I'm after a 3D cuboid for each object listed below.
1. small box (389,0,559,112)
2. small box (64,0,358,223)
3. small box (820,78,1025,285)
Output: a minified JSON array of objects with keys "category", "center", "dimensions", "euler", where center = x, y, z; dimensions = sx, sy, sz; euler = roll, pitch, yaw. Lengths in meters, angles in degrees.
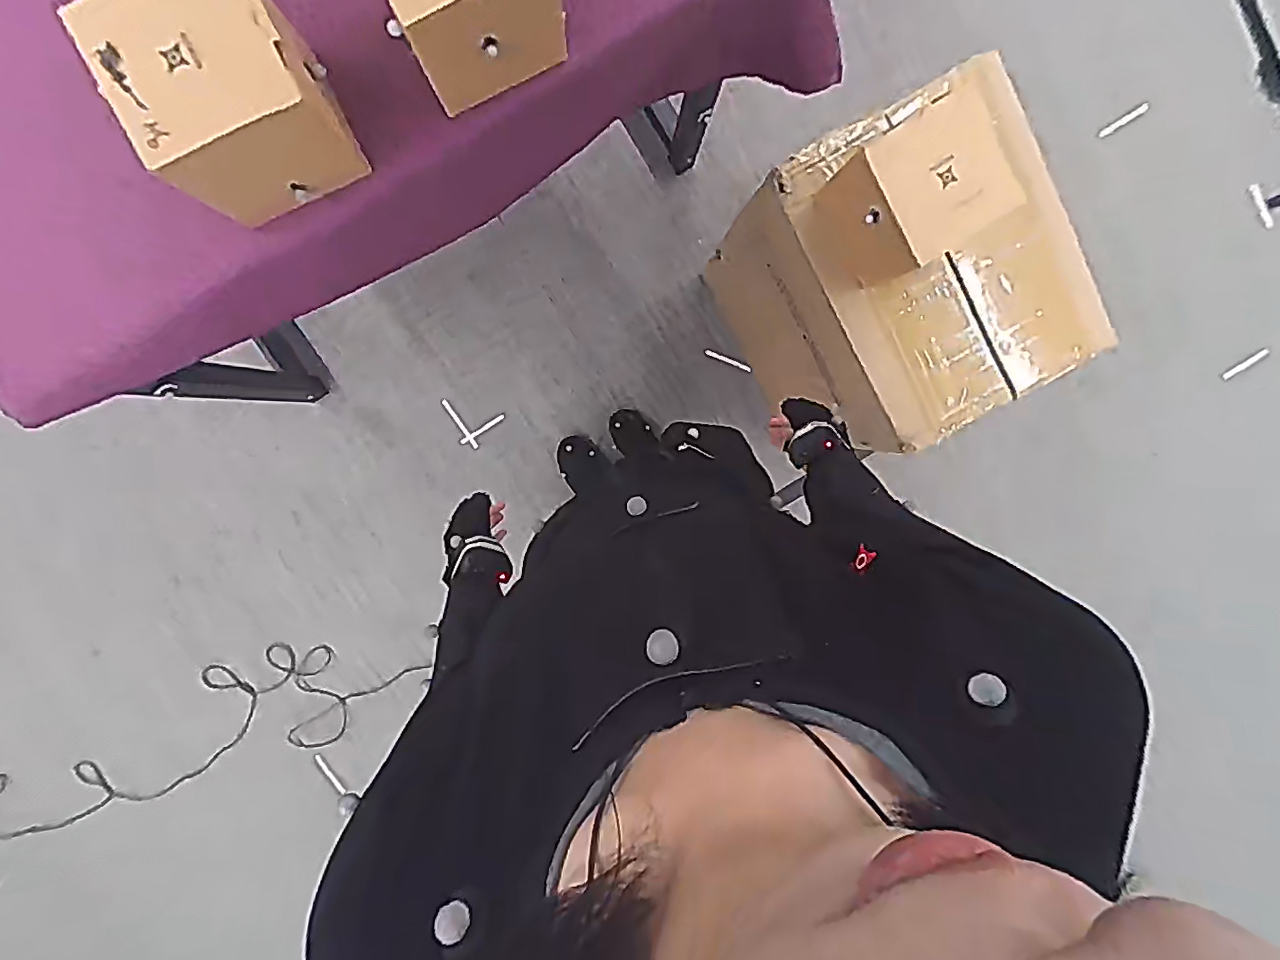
[{"category":"small box","center":[-0.202,-0.576,0.616],"dimensions":[0.179,0.176,0.168],"euler":[-27,97,0]},{"category":"small box","center":[-0.455,-0.429,0.615],"dimensions":[0.179,0.176,0.168],"euler":[-26,97,-2]},{"category":"small box","center":[0.392,-0.411,0.782],"dimensions":[0.168,0.176,0.179],"euler":[-32,99,3]}]
